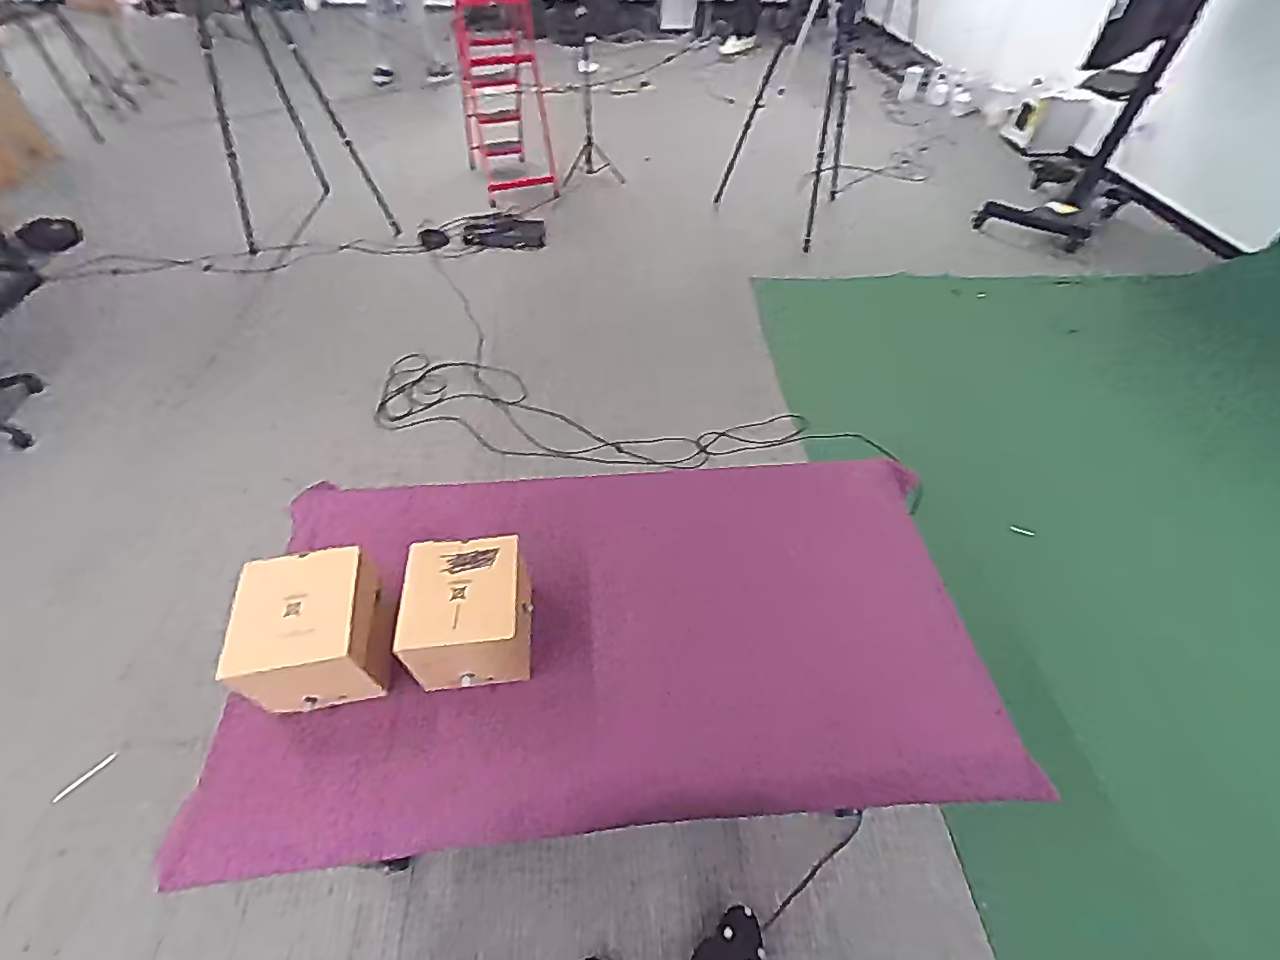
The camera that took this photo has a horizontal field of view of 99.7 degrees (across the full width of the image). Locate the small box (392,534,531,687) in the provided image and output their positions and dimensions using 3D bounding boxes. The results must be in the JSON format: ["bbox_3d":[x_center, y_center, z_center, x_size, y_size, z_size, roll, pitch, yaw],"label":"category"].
[{"bbox_3d":[-0.270,0.208,0.861,0.168,0.176,0.179,-5,52,-5],"label":"small box"}]

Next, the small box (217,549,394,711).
[{"bbox_3d":[-0.496,0.233,0.837,0.168,0.176,0.179,-9,52,-7],"label":"small box"}]
